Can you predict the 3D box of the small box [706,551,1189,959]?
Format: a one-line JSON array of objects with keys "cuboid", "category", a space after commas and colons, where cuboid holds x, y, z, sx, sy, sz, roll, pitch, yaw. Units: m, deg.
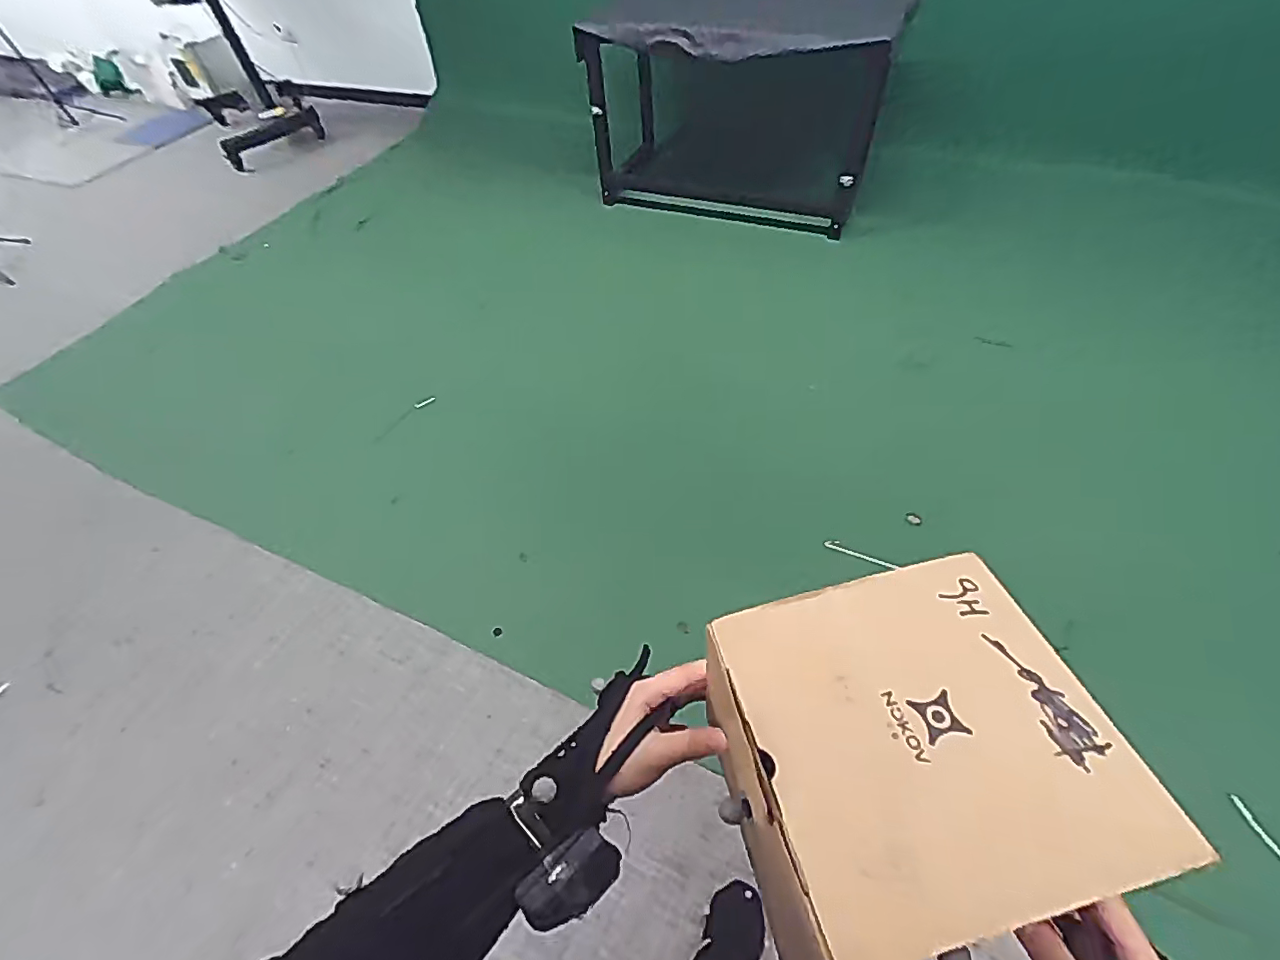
[{"cuboid": [0.150, 0.175, 0.341, 0.179, 0.176, 0.168, -14, 49, -5], "category": "small box"}]
